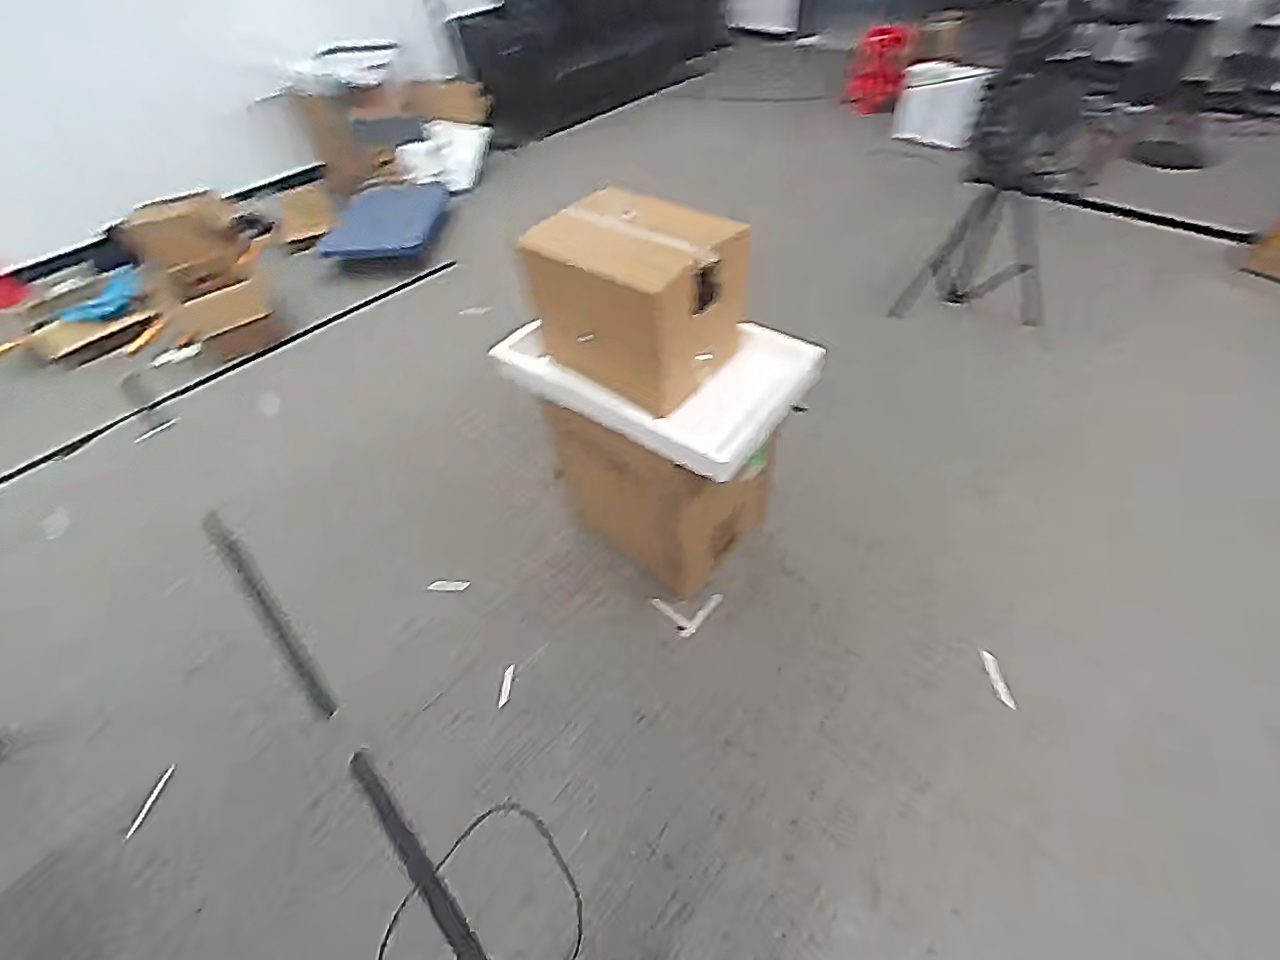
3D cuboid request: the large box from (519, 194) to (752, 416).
[{"bbox_3d":[0.002,-0.408,1.241,0.408,0.320,0.320,30,57,29],"label":"large box"}]
